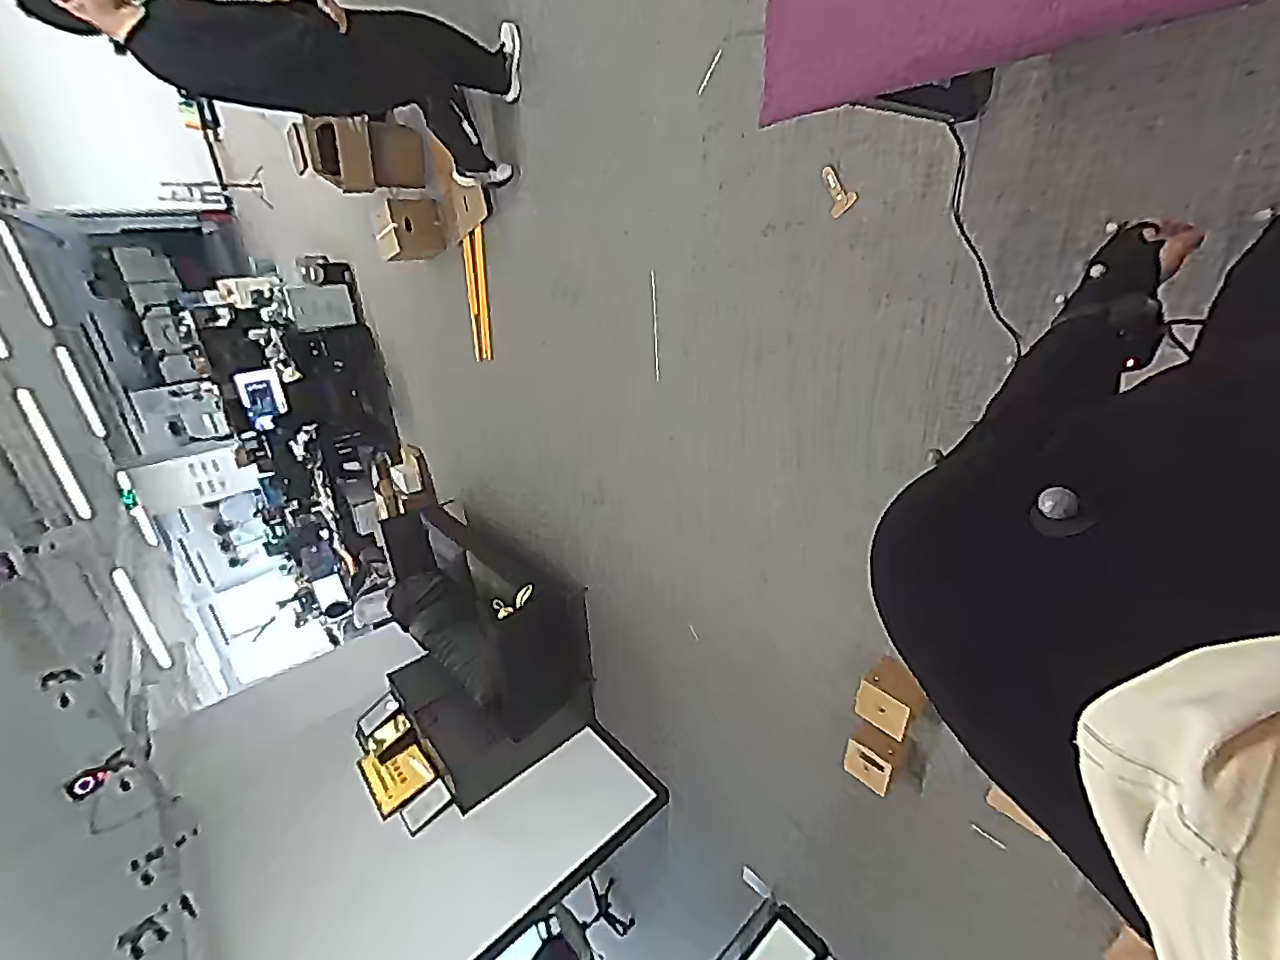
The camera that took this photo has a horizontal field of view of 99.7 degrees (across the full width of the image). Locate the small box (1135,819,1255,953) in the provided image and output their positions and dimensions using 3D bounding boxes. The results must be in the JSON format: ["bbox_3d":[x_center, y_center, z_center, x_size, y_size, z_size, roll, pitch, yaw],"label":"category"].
[{"bbox_3d":[1.411,1.023,1.374,0.168,0.176,0.179,24,127,44],"label":"small box"}]

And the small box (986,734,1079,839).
[{"bbox_3d":[1.177,0.911,1.620,0.168,0.176,0.179,25,127,43],"label":"small box"}]

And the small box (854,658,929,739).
[{"bbox_3d":[0.893,0.765,1.915,0.179,0.176,0.168,27,128,44],"label":"small box"}]
